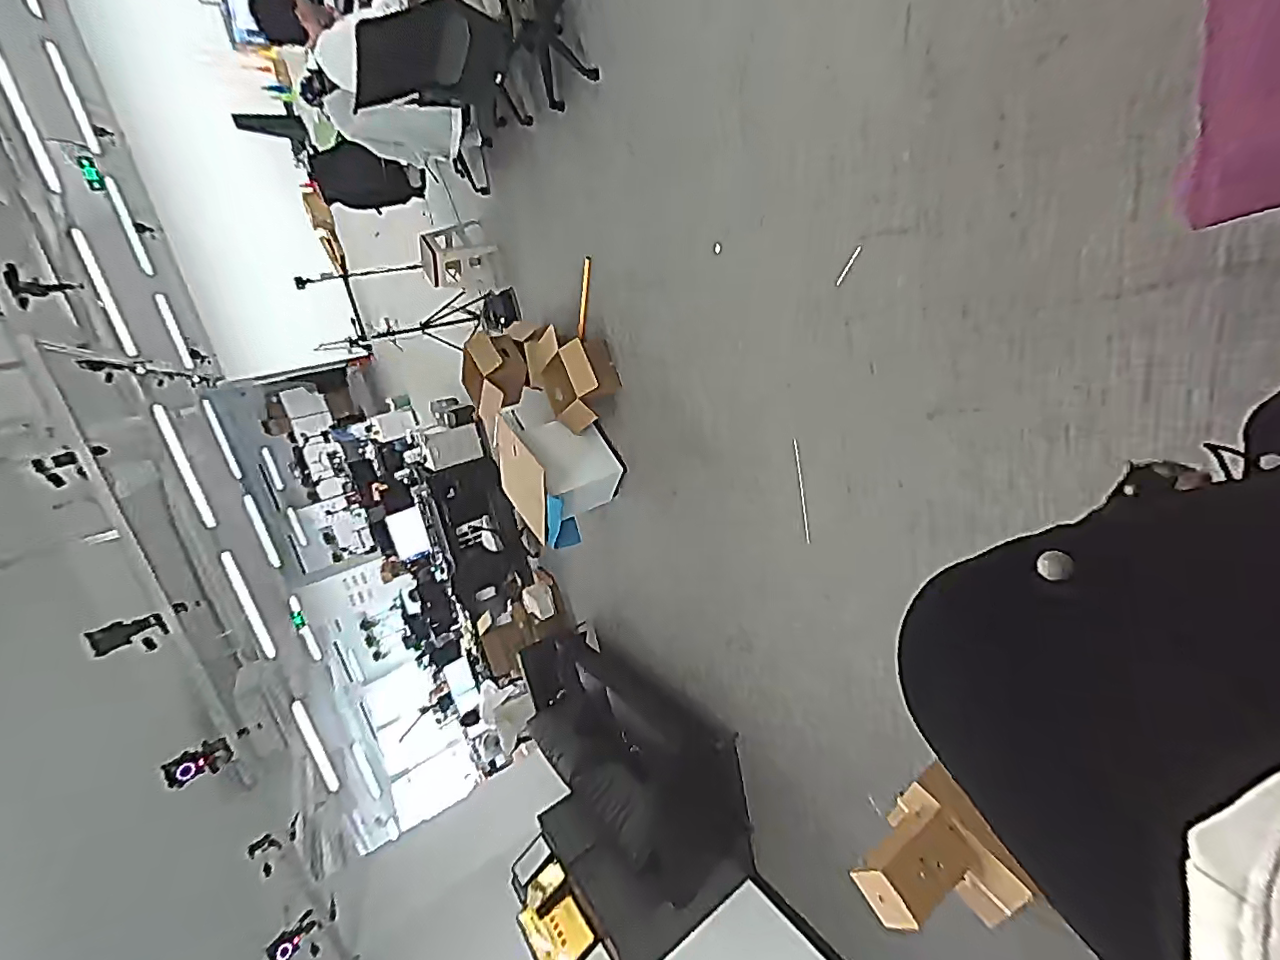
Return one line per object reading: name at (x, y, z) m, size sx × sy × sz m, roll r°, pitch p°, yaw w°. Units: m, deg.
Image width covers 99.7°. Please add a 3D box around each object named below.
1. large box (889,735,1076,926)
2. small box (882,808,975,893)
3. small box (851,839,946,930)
large box at (1.176, 1.203, 1.891) m, size 0.408 × 0.320 × 0.320 m, roll 40°, pitch 141°, yaw 39°
small box at (0.948, 1.215, 1.777) m, size 0.168 × 0.176 × 0.179 m, roll 54°, pitch 148°, yaw 24°
small box at (0.811, 1.264, 1.697) m, size 0.168 × 0.176 × 0.179 m, roll 54°, pitch 146°, yaw 24°
